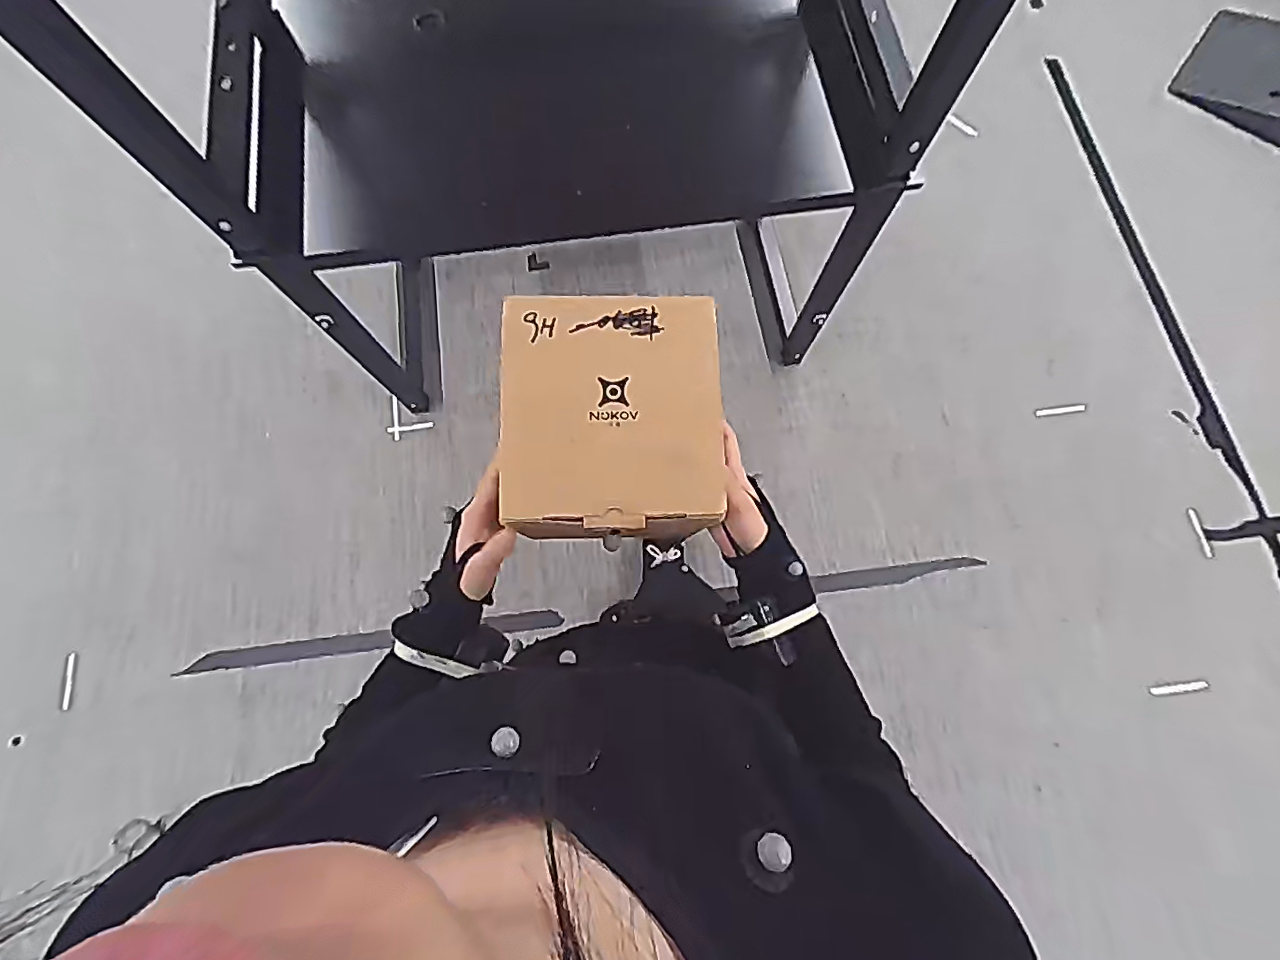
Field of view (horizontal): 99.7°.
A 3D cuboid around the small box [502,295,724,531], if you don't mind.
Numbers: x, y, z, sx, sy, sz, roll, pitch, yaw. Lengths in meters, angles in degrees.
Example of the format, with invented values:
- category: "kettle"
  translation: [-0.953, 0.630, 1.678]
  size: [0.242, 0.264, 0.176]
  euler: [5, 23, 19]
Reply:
- category: "small box"
  translation: [-0.025, -0.044, 0.486]
  size: [0.168, 0.176, 0.179]
  euler: [0, 80, -5]
